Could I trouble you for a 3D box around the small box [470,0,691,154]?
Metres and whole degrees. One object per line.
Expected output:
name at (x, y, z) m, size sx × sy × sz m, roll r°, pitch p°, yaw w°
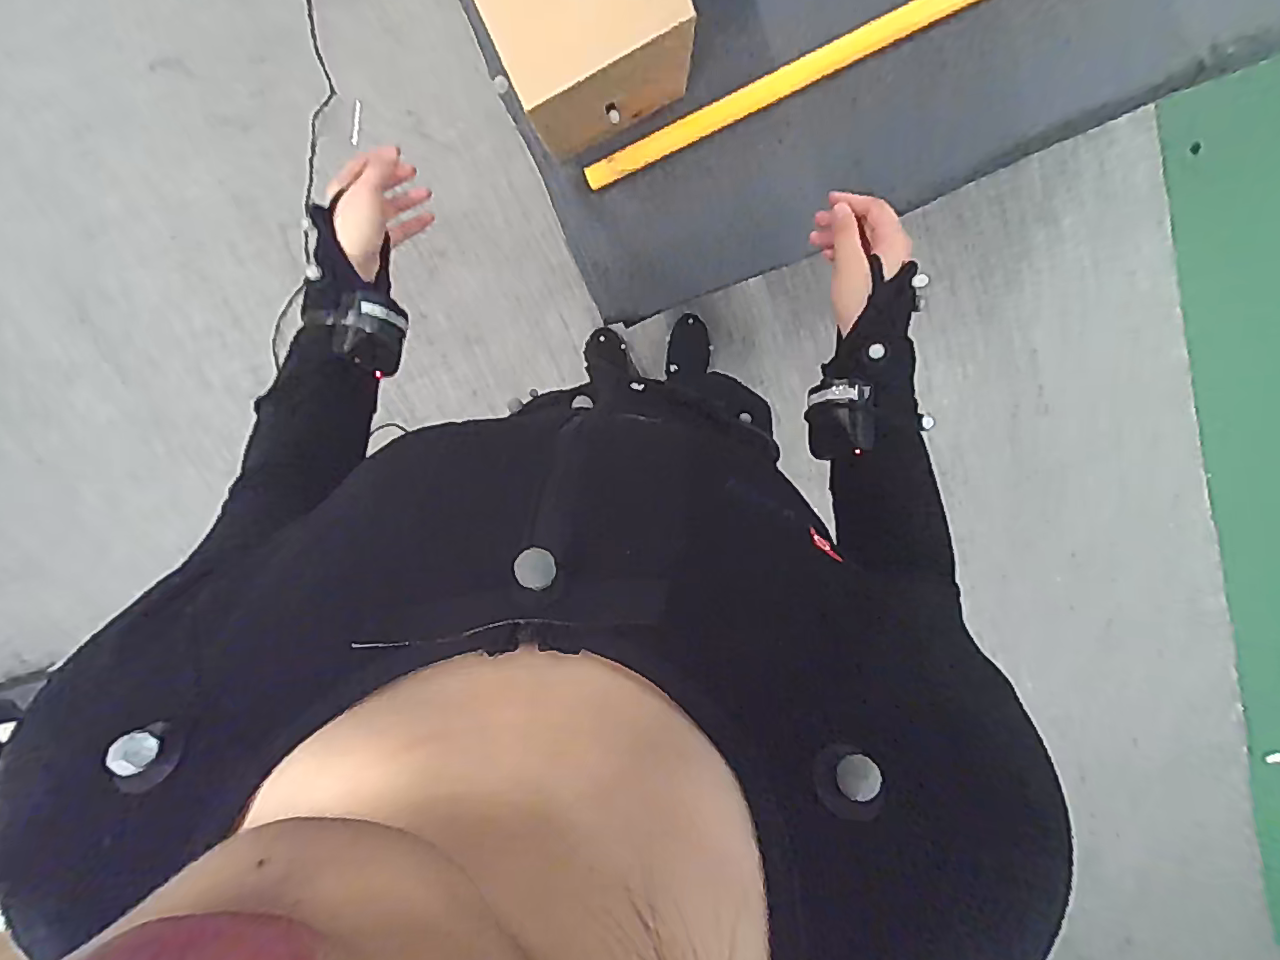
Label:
small box at (-0.061, -0.447, 0.521) m, size 0.168 × 0.176 × 0.179 m, roll -25°, pitch 104°, yaw 8°
